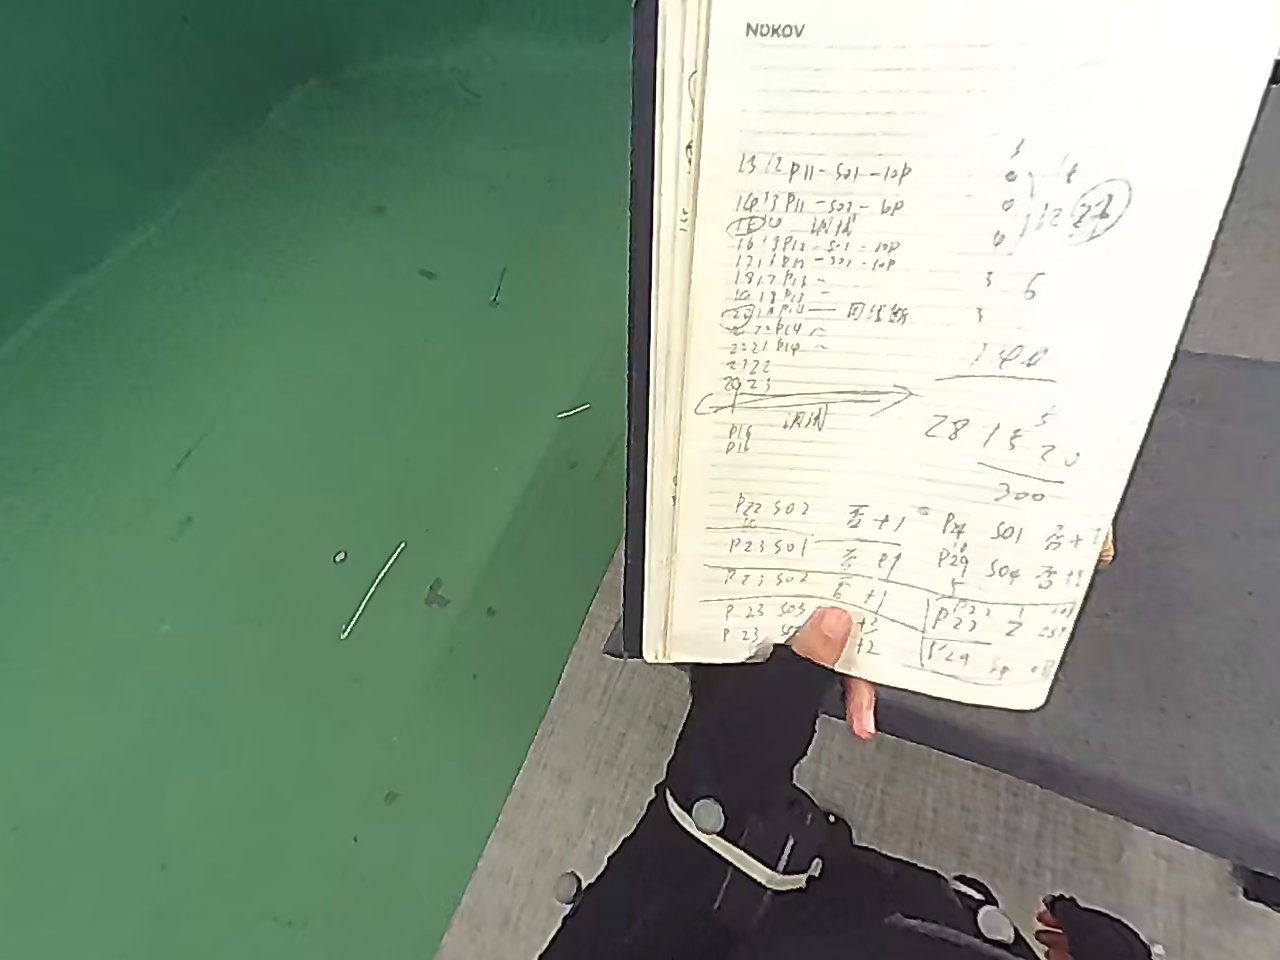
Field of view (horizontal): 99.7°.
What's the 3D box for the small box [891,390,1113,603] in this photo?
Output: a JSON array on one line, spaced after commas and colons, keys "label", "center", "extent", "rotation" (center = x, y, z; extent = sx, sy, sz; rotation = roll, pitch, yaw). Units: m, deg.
[{"label": "small box", "center": [0.409, 0.023, 0.639], "extent": [0.168, 0.176, 0.179], "rotation": [11, 64, 16]}]
